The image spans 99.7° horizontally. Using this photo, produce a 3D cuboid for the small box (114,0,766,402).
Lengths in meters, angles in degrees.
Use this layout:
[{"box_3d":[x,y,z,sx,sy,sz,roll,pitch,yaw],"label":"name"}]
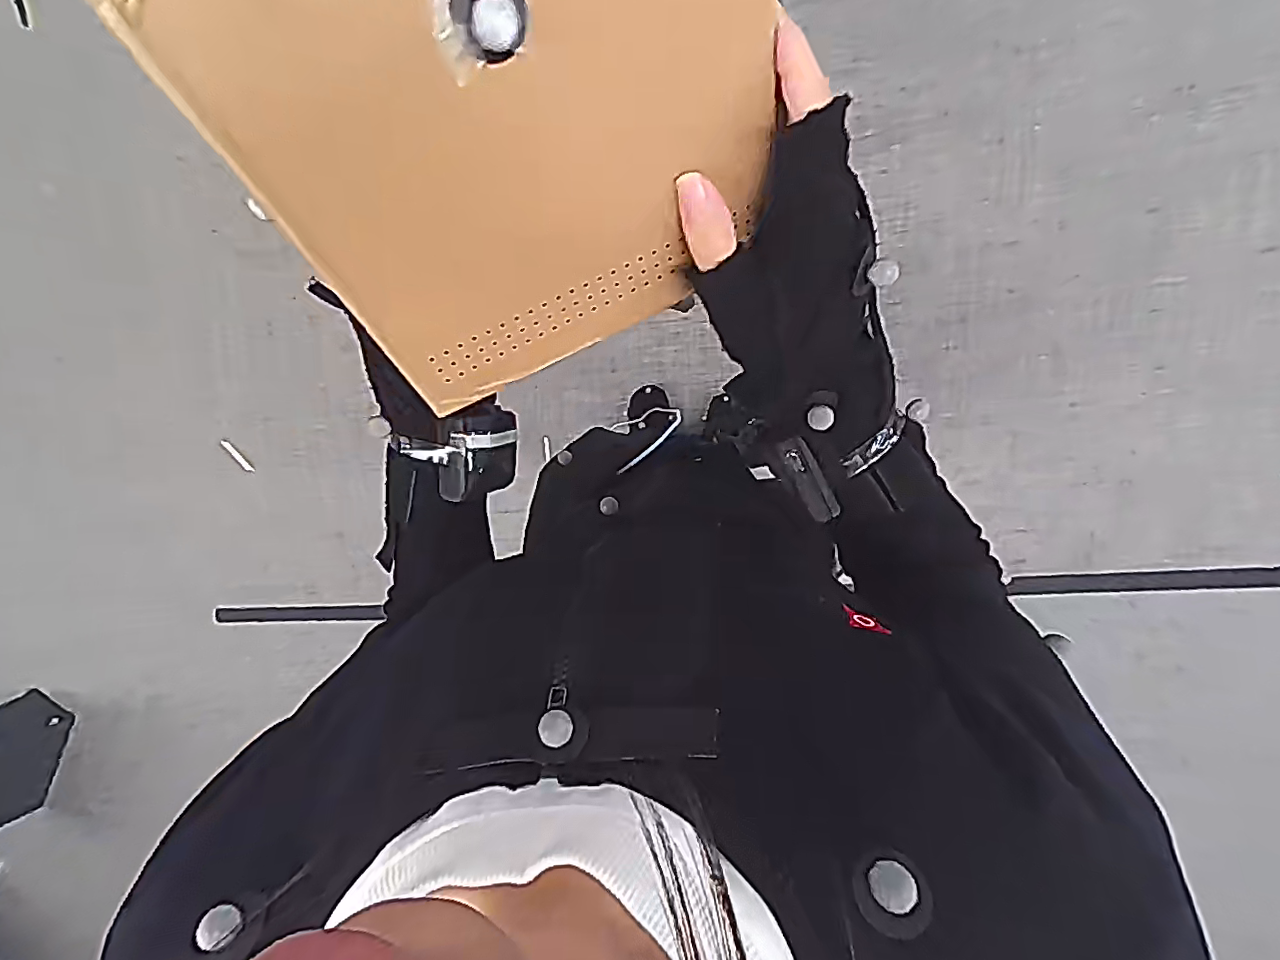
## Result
[{"box_3d":[-0.058,-0.165,0.231,0.179,0.176,0.168,-27,58,-4],"label":"small box"}]
